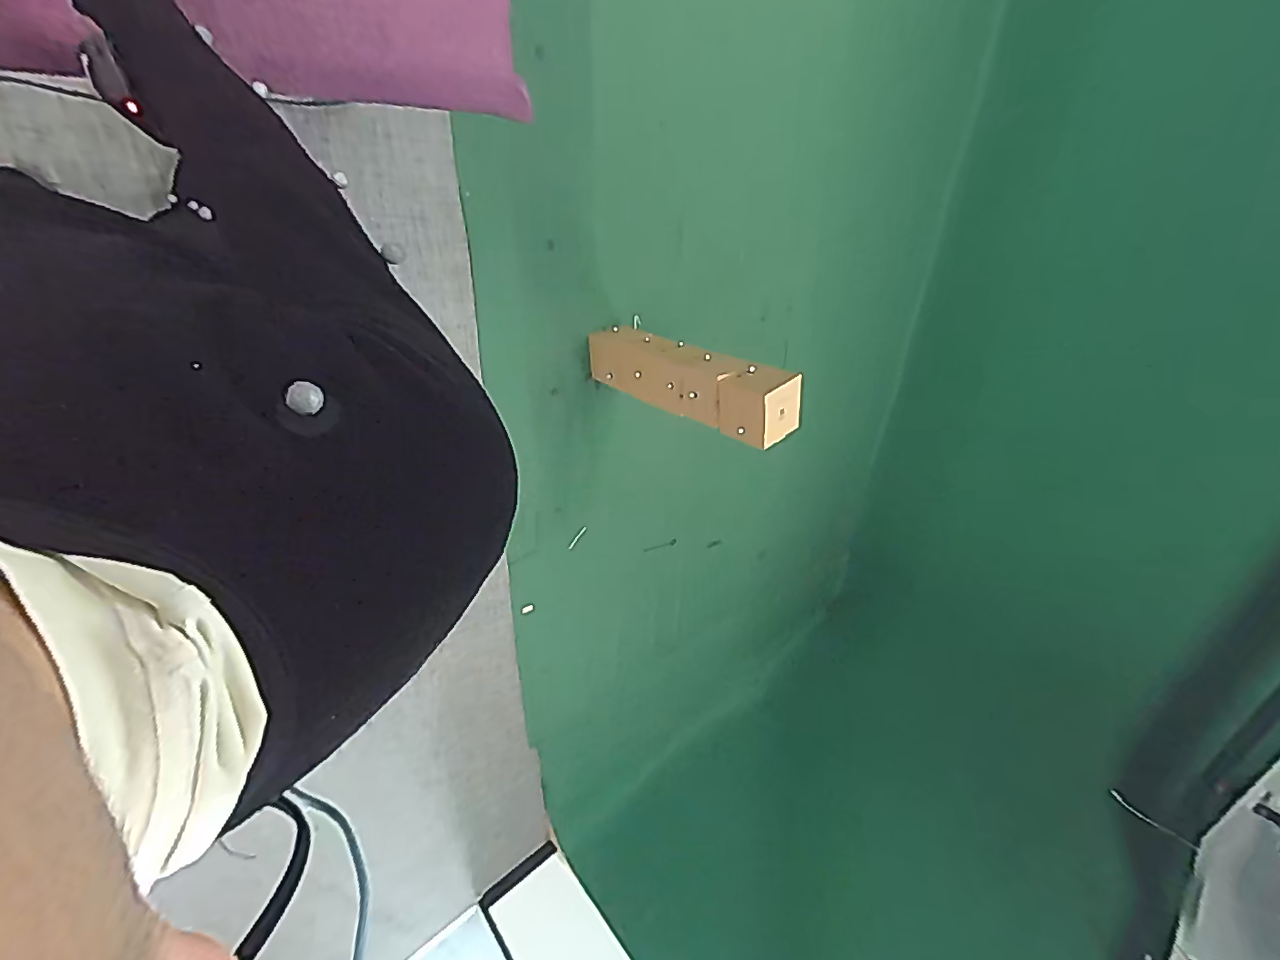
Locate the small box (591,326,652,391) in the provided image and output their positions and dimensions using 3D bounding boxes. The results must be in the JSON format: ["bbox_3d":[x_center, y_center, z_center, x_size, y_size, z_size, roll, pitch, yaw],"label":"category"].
[{"bbox_3d":[-0.069,-0.457,2.014,0.168,0.176,0.179,-26,129,-33],"label":"small box"}]

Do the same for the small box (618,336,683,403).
[{"bbox_3d":[0.036,-0.393,1.908,0.168,0.176,0.179,-24,127,-33],"label":"small box"}]

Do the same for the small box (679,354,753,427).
[{"bbox_3d":[0.236,-0.282,1.674,0.179,0.176,0.168,-22,126,-33],"label":"small box"}]

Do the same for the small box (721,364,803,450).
[{"bbox_3d":[0.350,-0.218,1.575,0.168,0.176,0.179,-31,130,-30],"label":"small box"}]

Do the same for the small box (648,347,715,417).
[{"bbox_3d":[0.140,-0.335,1.796,0.168,0.176,0.179,-25,129,-32],"label":"small box"}]
